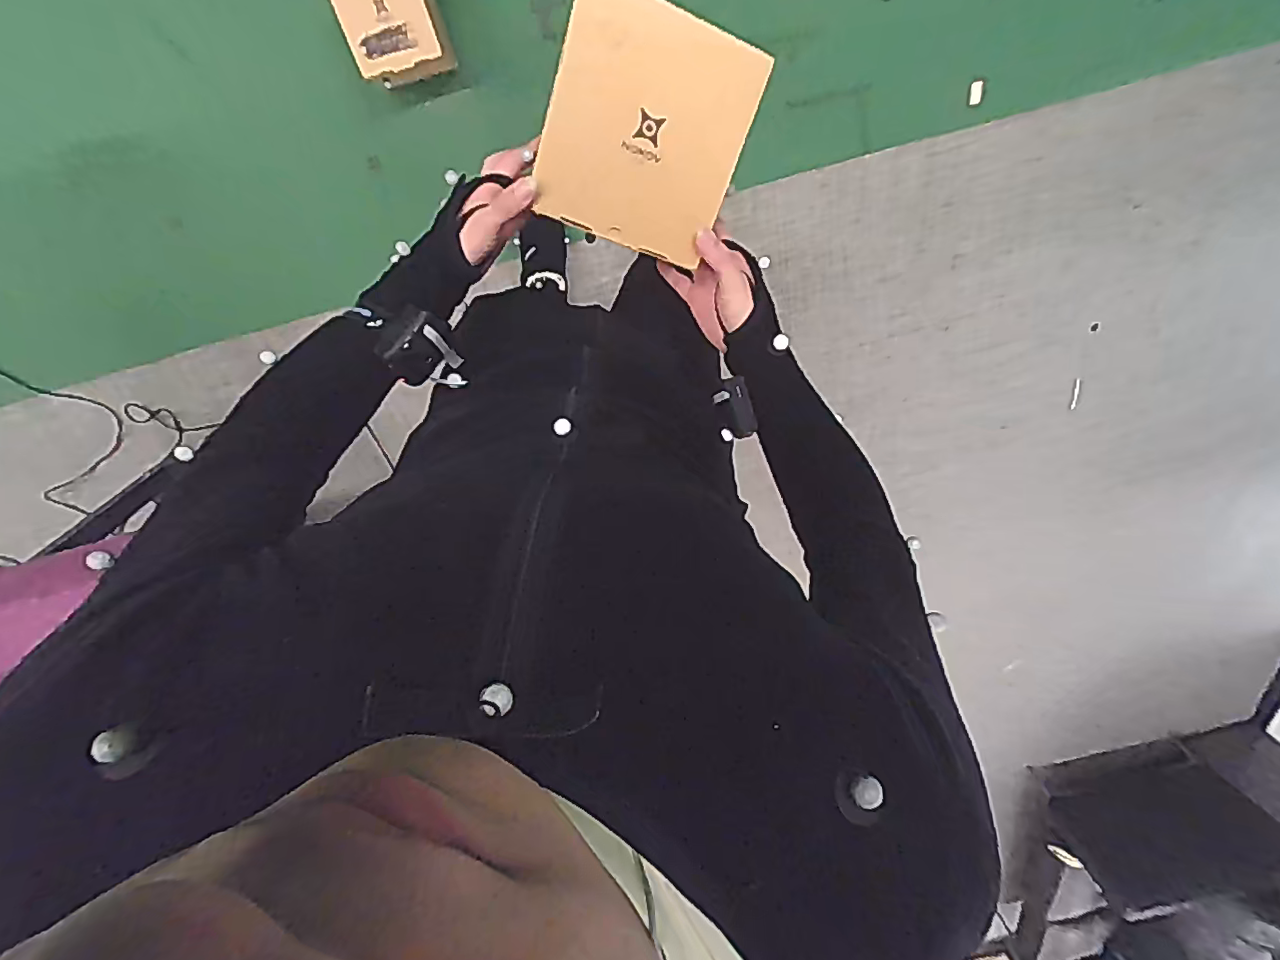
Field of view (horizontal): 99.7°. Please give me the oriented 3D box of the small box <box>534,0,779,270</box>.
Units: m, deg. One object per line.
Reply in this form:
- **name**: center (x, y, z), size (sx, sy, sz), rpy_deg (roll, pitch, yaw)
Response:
- **small box**: center (-0.003, -0.328, 0.518), size (0.168, 0.176, 0.179), rpy_deg (13, 116, -18)
